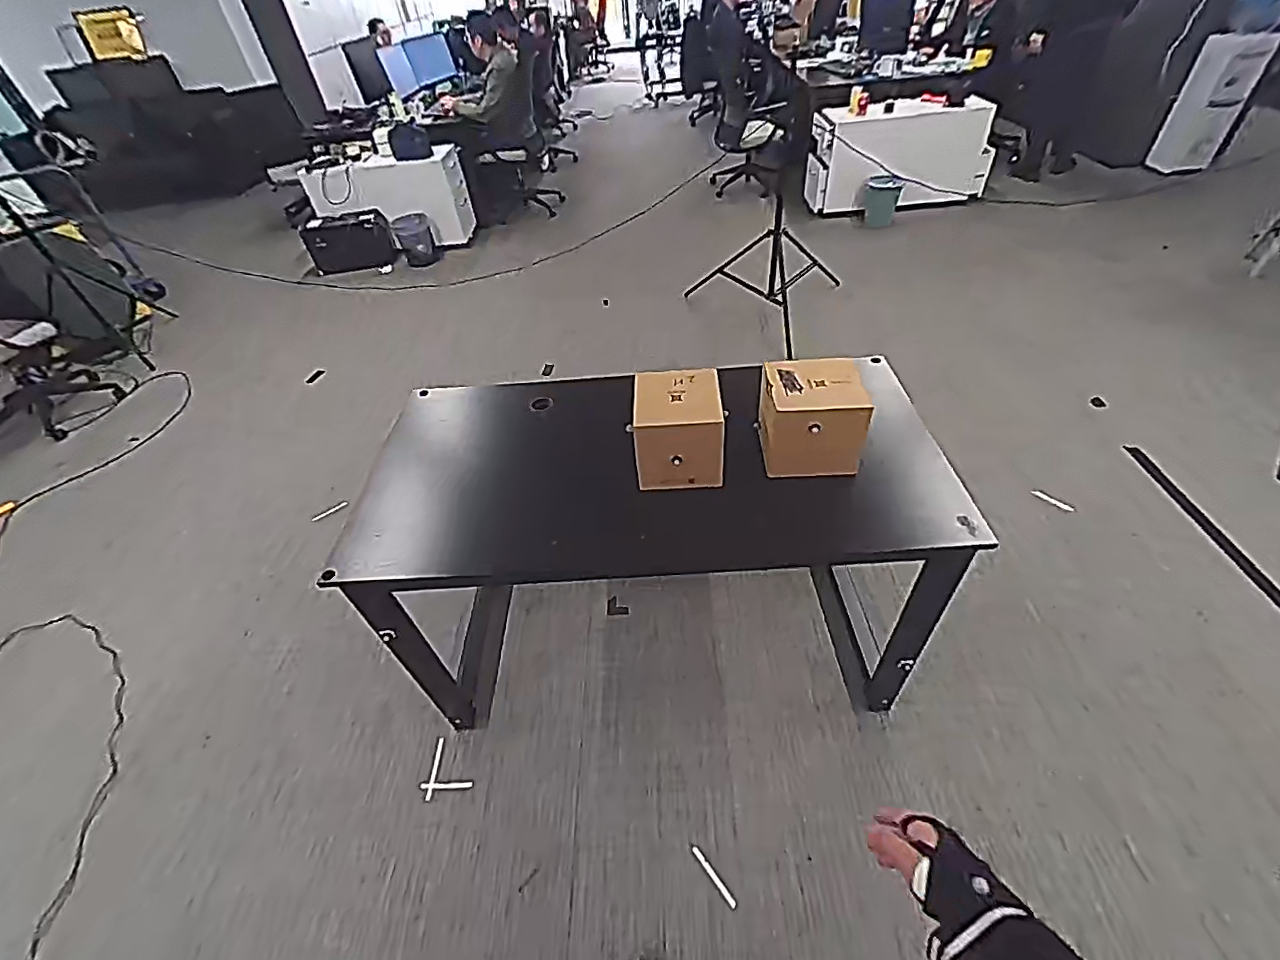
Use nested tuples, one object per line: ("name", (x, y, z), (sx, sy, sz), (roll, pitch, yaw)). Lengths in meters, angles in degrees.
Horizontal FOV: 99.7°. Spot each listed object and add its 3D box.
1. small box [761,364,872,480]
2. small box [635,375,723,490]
("small box", (0.341, -0.113, 1.085), (0.179, 0.176, 0.168), (-2, 44, 4))
("small box", (0.081, -0.091, 1.095), (0.168, 0.176, 0.179), (-2, 44, 4))
